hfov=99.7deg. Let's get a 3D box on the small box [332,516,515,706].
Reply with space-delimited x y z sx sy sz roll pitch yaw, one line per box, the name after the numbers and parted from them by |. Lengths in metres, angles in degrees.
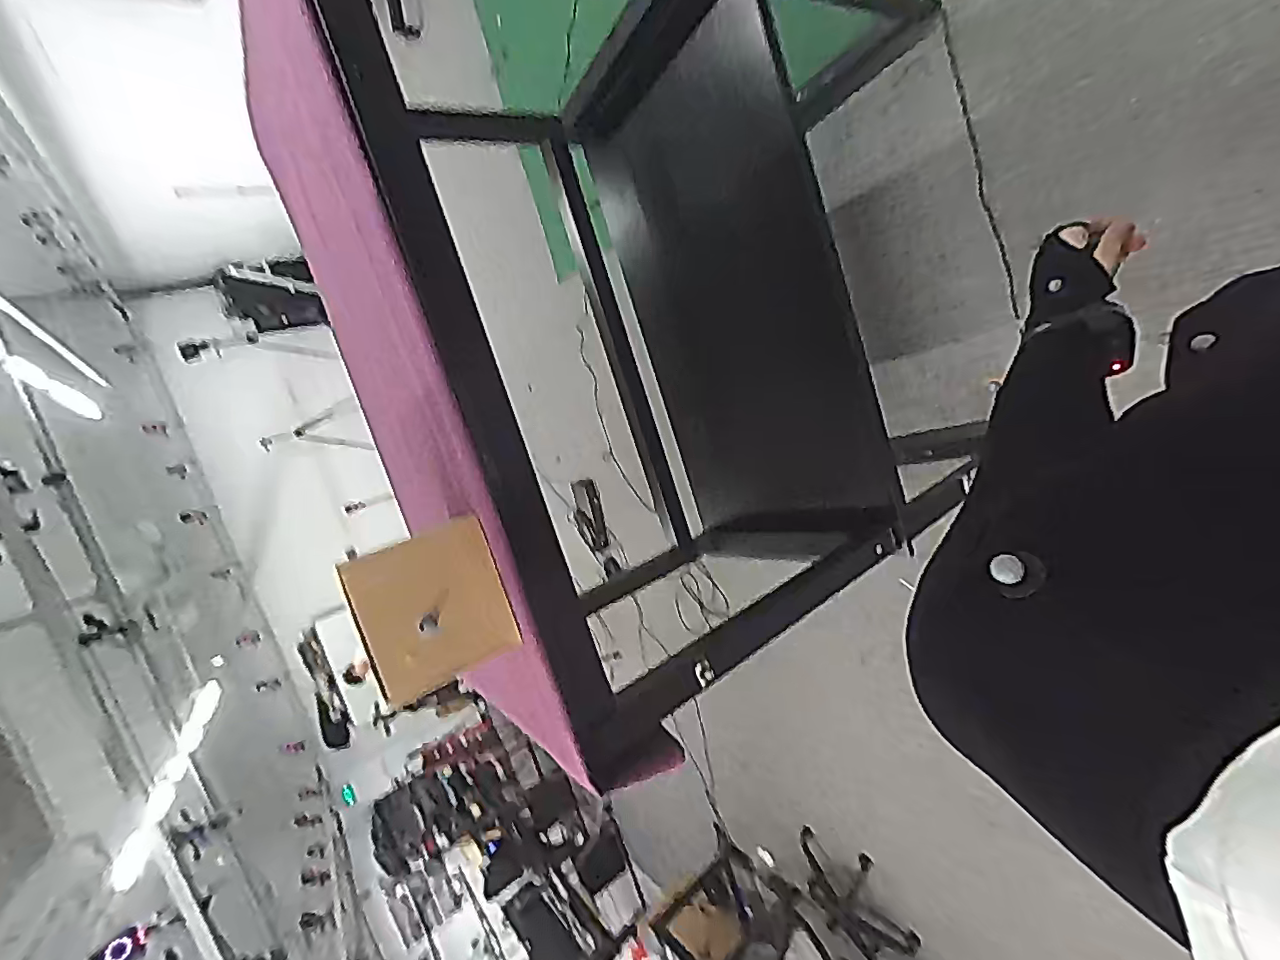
-0.285 0.159 0.714 0.168 0.176 0.179 -13 97 58 | small box
